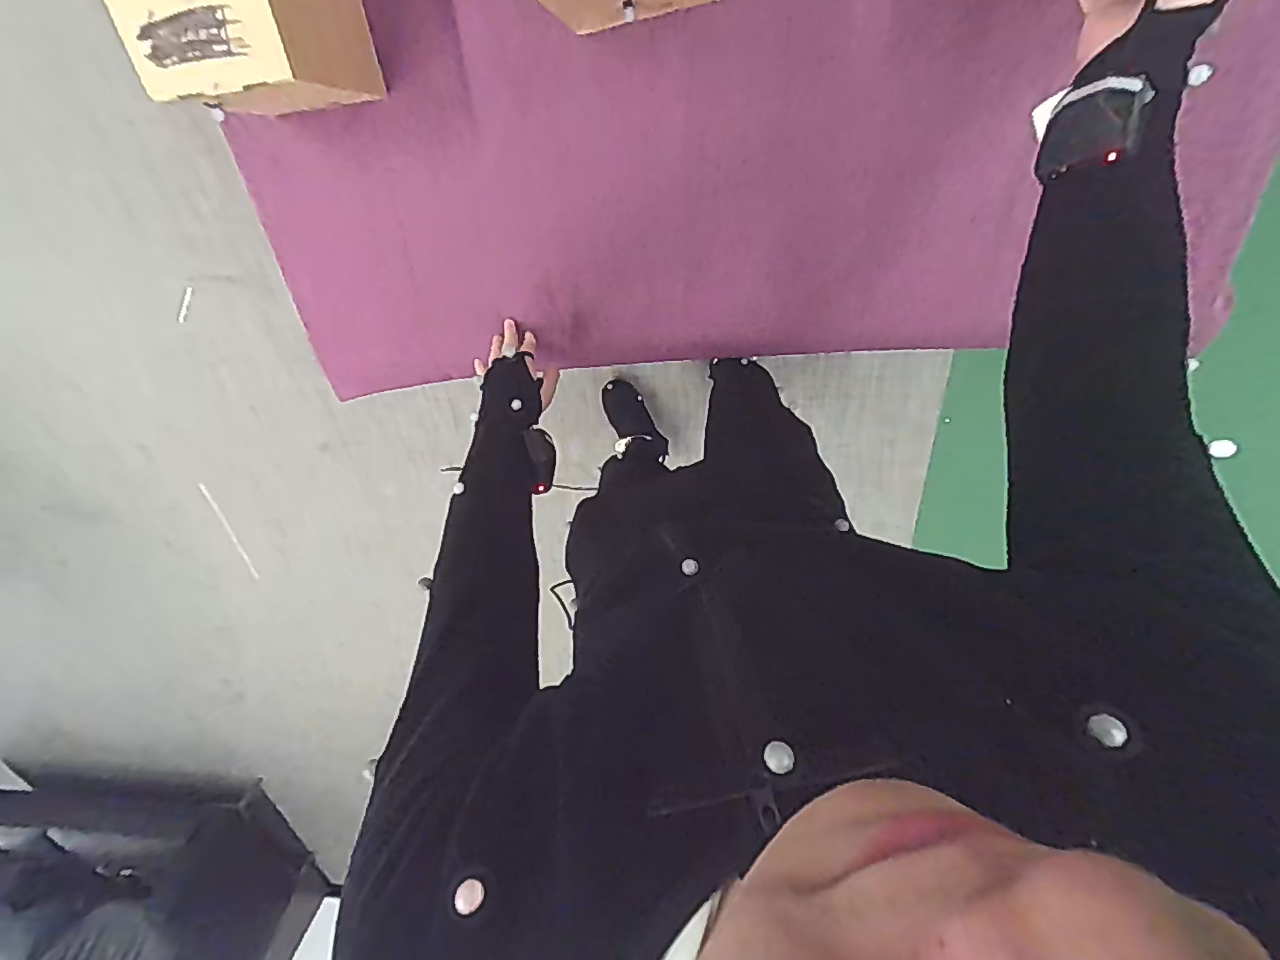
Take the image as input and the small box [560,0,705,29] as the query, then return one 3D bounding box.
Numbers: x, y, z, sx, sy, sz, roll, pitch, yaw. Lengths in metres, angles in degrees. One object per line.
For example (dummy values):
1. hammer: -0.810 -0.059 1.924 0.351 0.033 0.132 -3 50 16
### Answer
1. small box: -0.015 -0.533 0.469 0.168 0.176 0.179 -5 121 11
